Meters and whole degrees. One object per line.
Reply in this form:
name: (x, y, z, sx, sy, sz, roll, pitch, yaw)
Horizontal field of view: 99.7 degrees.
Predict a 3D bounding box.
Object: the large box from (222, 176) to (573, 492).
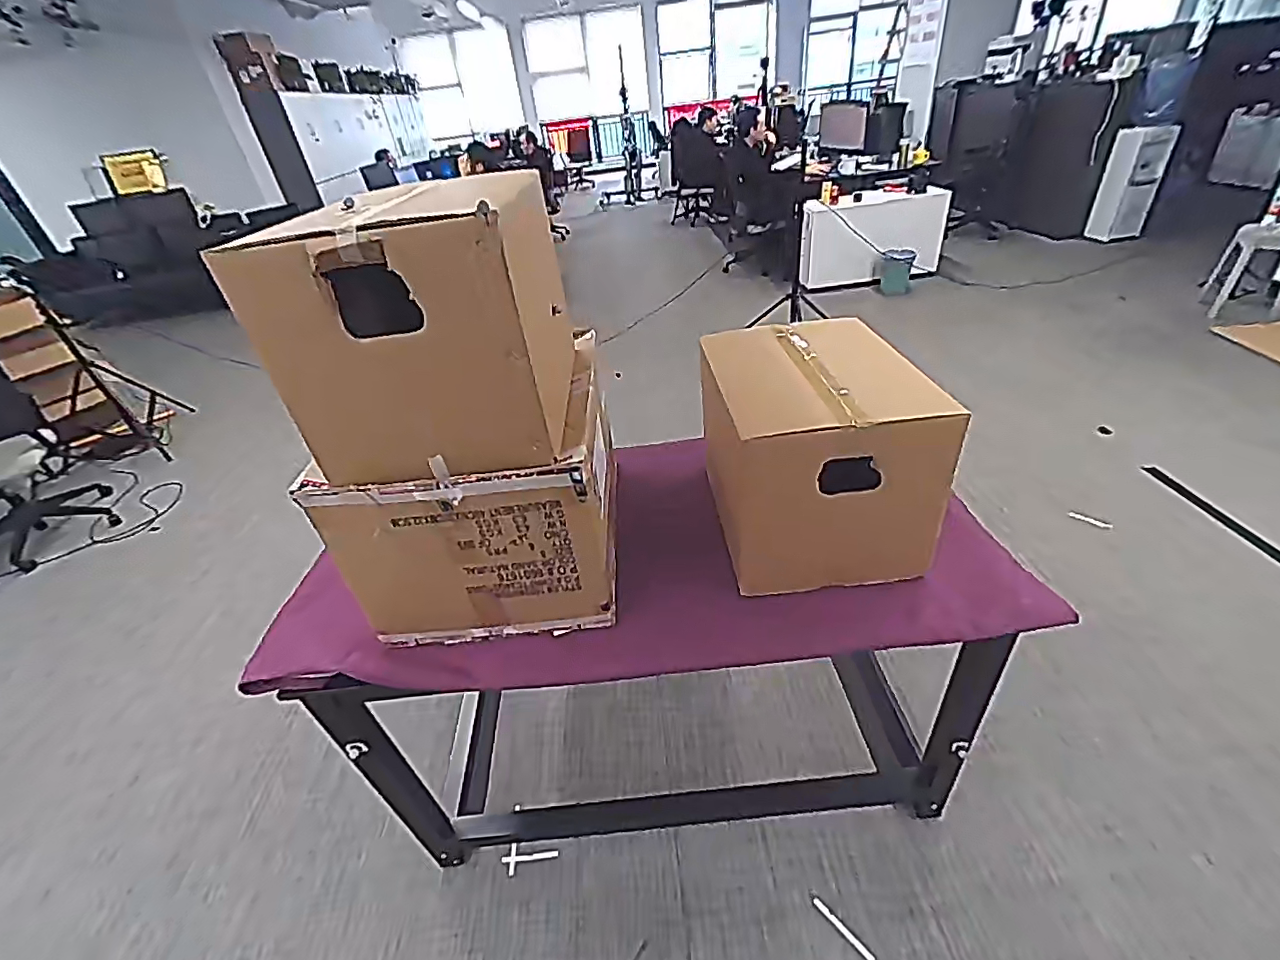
large box: (-0.280, -0.236, 0.800, 0.320, 0.320, 0.408, -9, 35, 2)
